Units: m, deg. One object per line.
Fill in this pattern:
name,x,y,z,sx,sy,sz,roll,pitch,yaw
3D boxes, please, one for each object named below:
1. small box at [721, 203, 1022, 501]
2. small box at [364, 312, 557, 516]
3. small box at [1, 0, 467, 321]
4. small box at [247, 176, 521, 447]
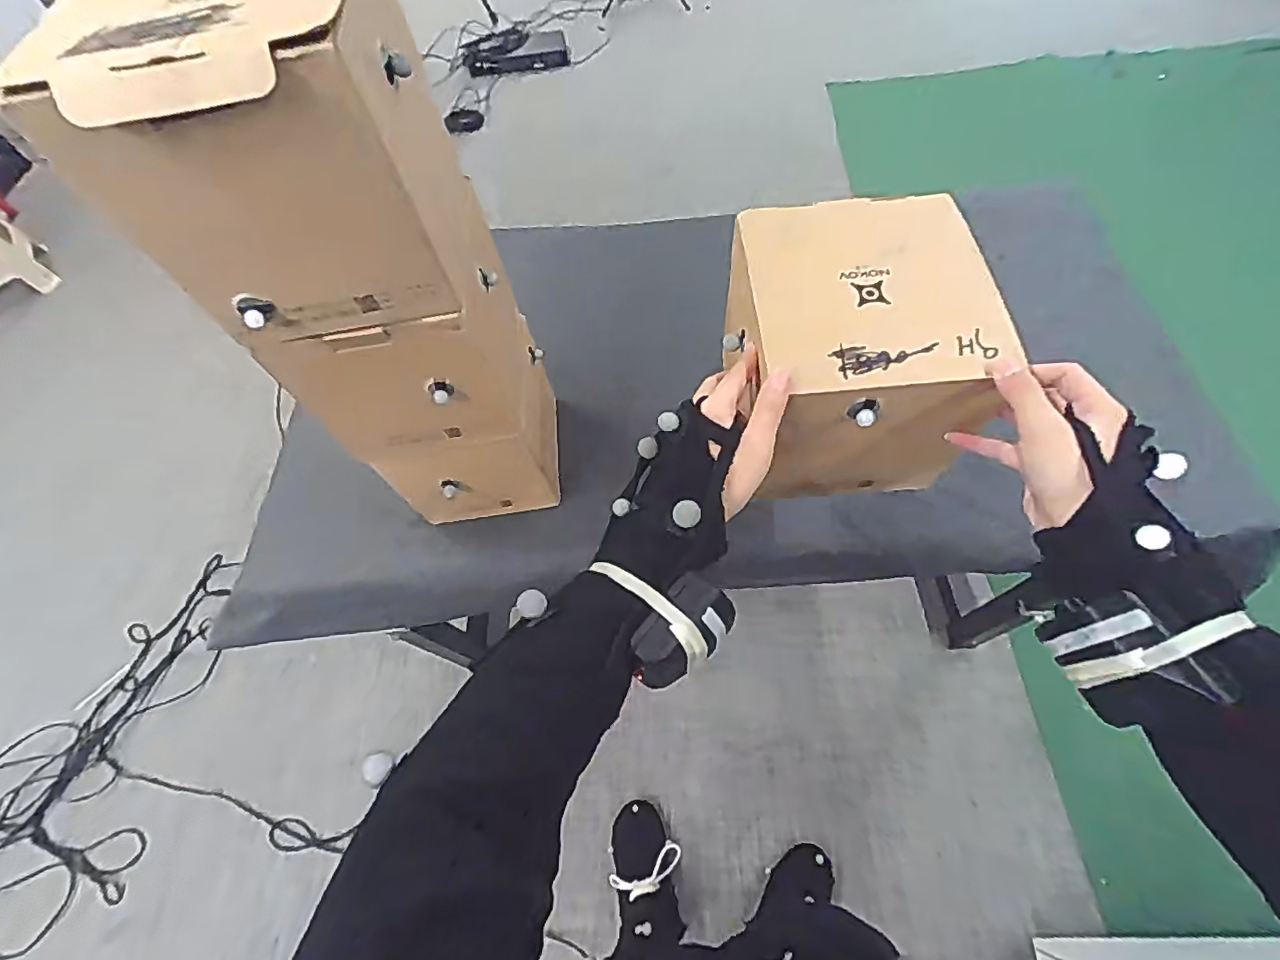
small box,0.163,-0.098,0.455,0.168,0.176,0.179,-4,63,2
small box,-0.197,-0.068,0.647,0.168,0.176,0.179,-8,60,1
small box,-0.224,-0.225,0.362,0.168,0.176,0.179,-9,60,-1
small box,-0.212,-0.144,0.505,0.168,0.176,0.179,-8,59,-1
